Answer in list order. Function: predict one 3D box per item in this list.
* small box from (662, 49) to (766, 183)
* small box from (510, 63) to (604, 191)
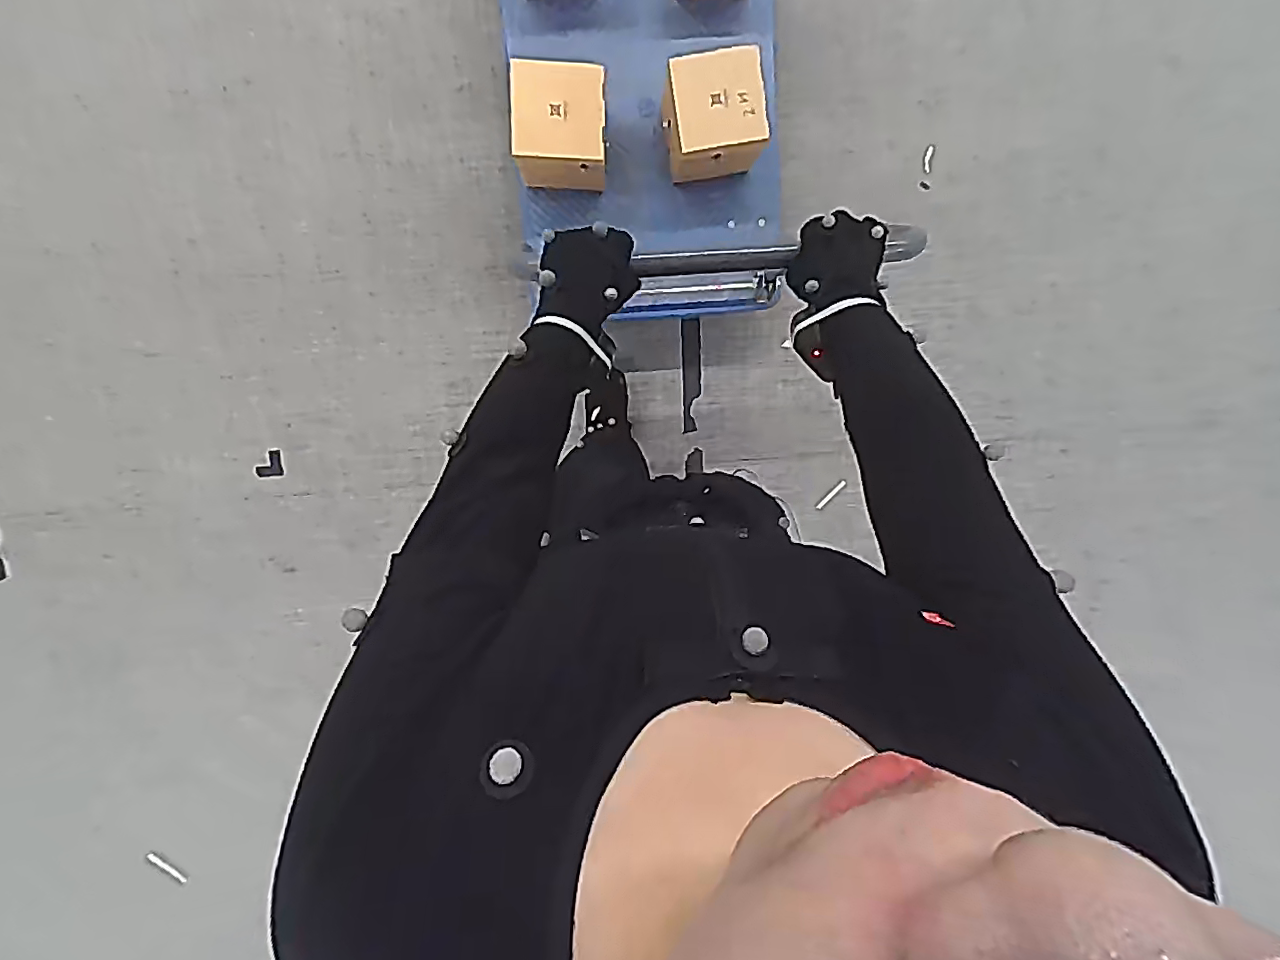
[{"bbox_3d":[0.144,-0.733,1.109,0.179,0.176,0.168,-10,101,-2],"label":"small box"},{"bbox_3d":[-0.162,-0.703,1.096,0.179,0.176,0.168,0,100,-5],"label":"small box"}]
